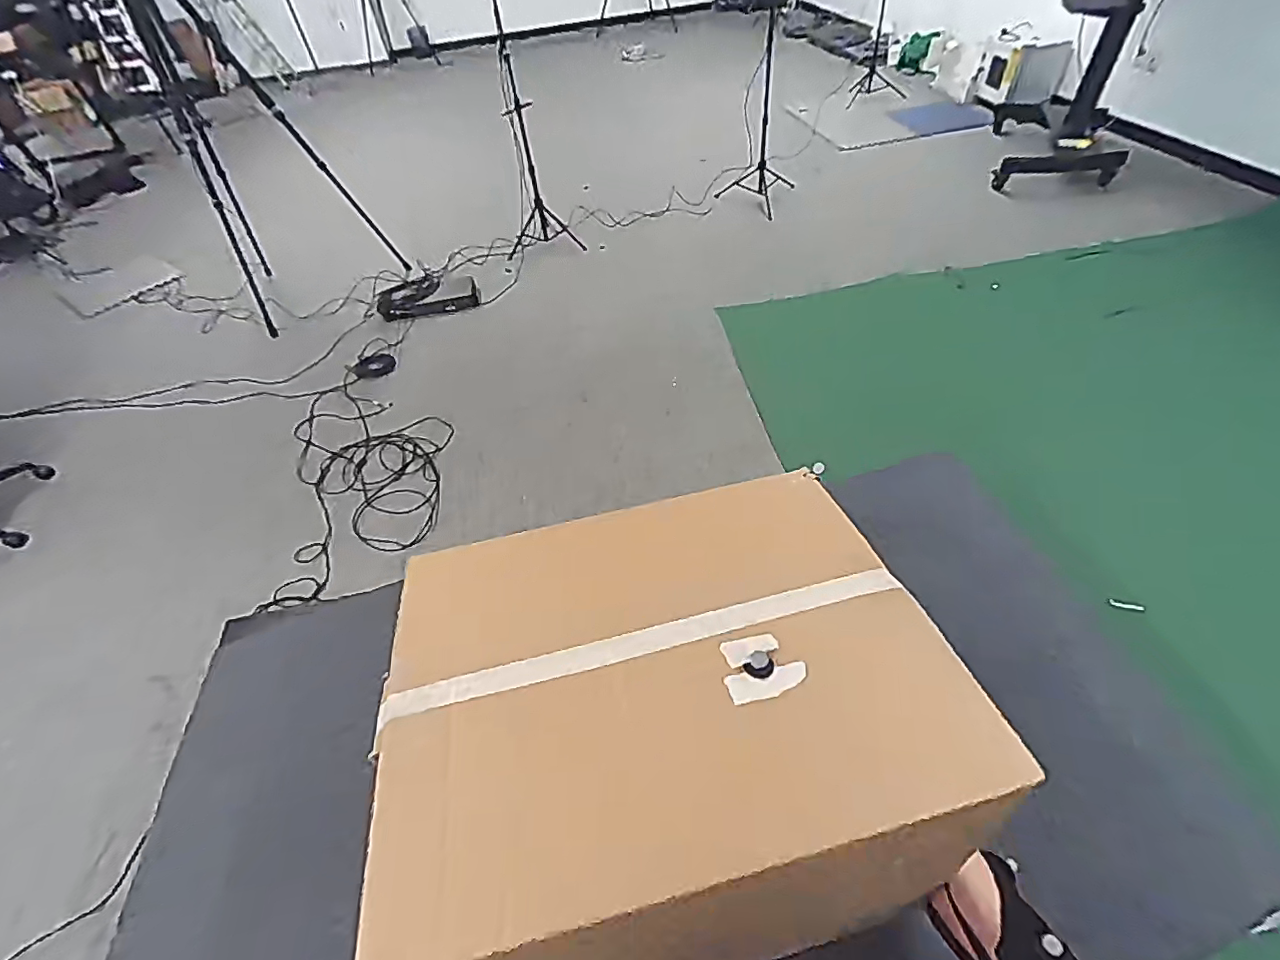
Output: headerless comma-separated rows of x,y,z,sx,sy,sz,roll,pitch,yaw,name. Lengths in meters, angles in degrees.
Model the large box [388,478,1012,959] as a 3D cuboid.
0.028,0.245,0.528,0.408,0.320,0.320,-12,41,-7,large box
